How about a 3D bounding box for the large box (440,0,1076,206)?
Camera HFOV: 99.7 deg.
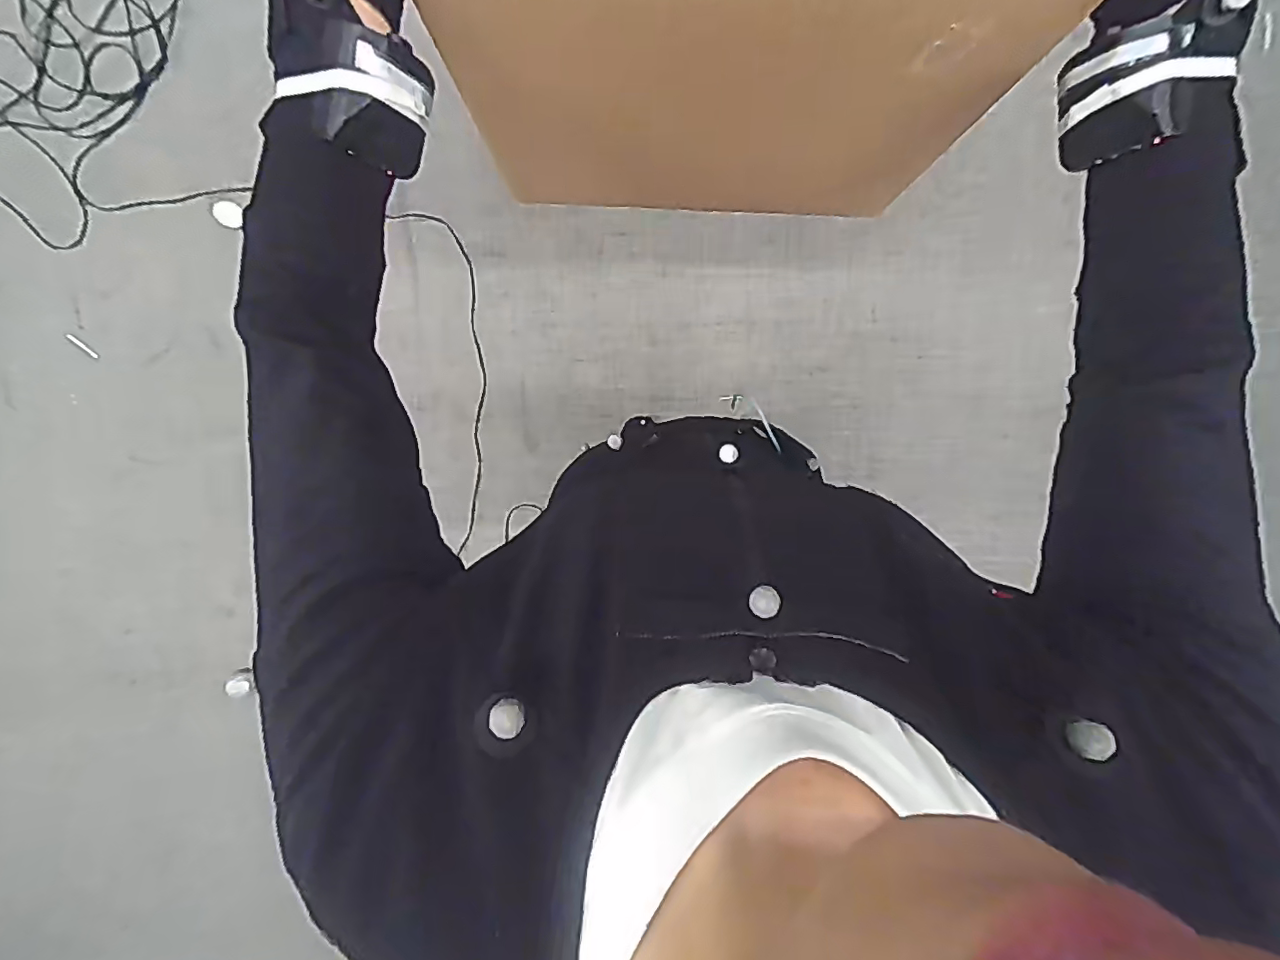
[{"bbox_3d":[0.069,-0.447,0.442,0.408,0.320,0.320,1,94,-2],"label":"large box"}]
